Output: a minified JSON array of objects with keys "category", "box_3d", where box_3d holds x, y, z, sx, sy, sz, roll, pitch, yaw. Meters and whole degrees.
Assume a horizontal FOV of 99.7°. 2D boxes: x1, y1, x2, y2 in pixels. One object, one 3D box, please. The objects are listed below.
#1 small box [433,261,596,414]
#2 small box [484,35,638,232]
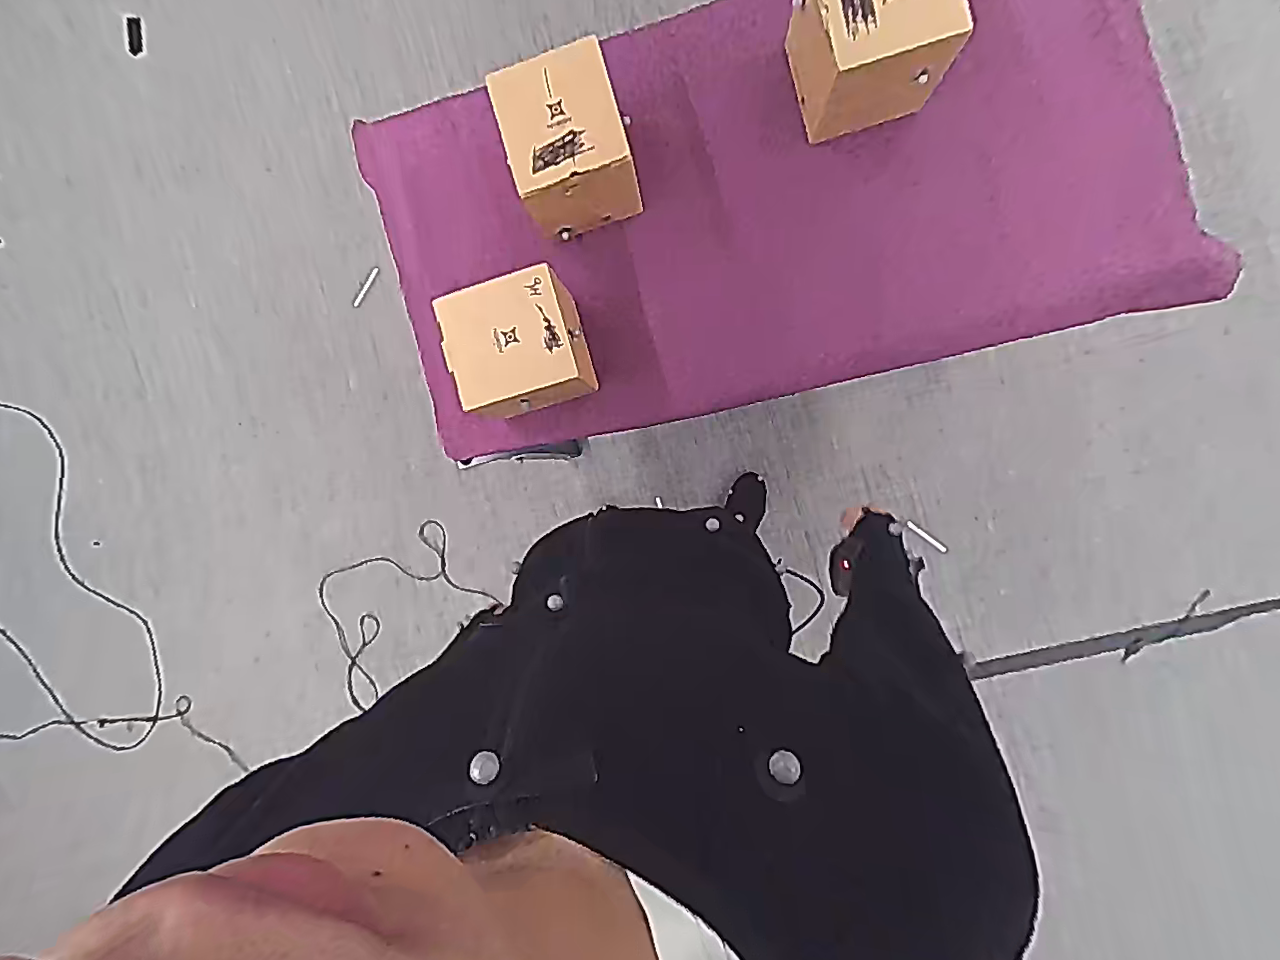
[{"category":"small box","box_3d":[-0.183,-0.205,0.834,0.179,0.176,0.168,-15,91,7]},{"category":"small box","box_3d":[-0.108,-0.501,0.818,0.168,0.176,0.179,-16,90,6]}]
